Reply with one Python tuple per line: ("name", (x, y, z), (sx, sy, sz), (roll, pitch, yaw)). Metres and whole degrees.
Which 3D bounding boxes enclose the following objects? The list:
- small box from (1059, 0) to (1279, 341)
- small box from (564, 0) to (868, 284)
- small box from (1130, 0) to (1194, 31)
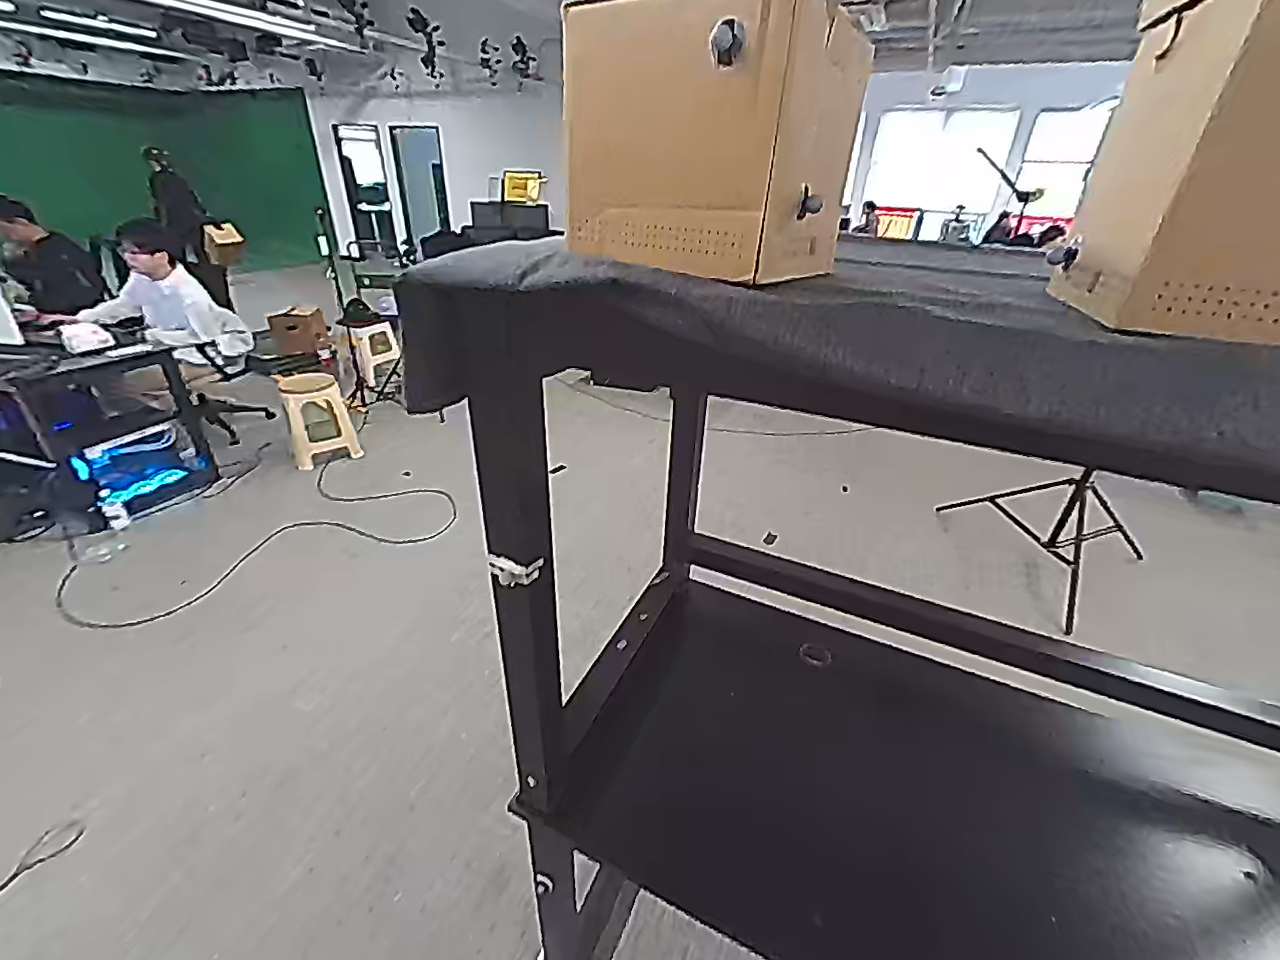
("small box", (0.377, -0.173, 0.307), (0.179, 0.176, 0.168), (13, 30, 18))
("small box", (0.055, -0.255, 0.433), (0.179, 0.176, 0.168), (20, 31, 28))
("small box", (0.386, -0.320, 0.239), (0.179, 0.176, 0.168), (10, 28, 14))
